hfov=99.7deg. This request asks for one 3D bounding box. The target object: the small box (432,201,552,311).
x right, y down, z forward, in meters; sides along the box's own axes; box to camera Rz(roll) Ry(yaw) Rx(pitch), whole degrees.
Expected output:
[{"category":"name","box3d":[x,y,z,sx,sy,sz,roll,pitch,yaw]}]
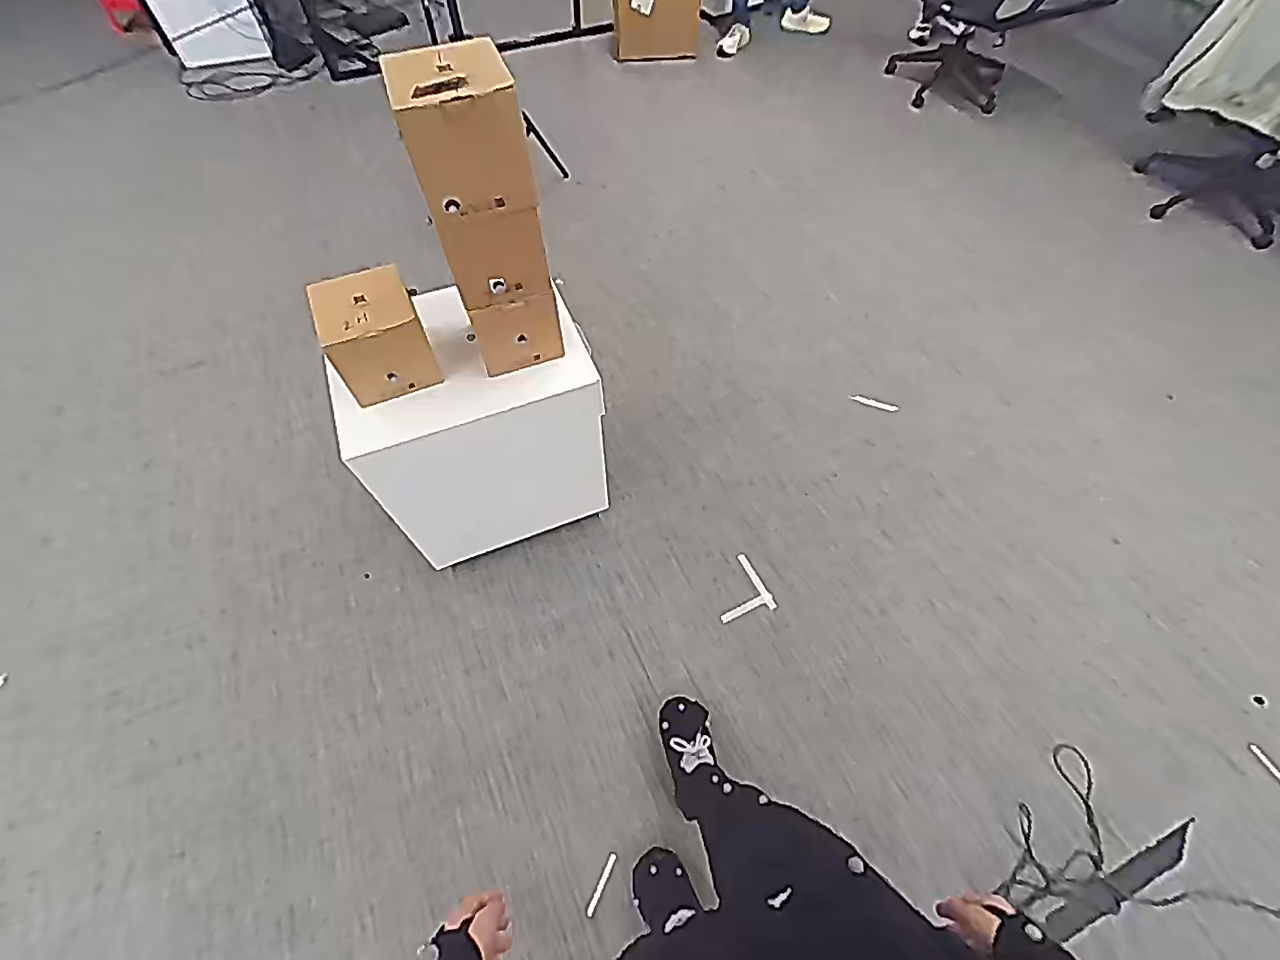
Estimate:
[{"category":"small box","box3d":[-0.267,-0.434,0.957,0.168,0.176,0.179,-20,62,-10]}]

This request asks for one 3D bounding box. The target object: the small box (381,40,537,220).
[{"category":"small box","box3d":[-0.265,-0.517,0.815,0.168,0.176,0.179,-18,59,-9]}]

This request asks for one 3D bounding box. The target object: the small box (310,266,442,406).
[{"category":"small box","box3d":[-0.506,-0.277,1.050,0.168,0.176,0.179,-22,62,-13]}]

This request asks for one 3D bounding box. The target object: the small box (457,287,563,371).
[{"category":"small box","box3d":[-0.263,-0.343,1.093,0.168,0.176,0.179,-20,62,-10]}]
